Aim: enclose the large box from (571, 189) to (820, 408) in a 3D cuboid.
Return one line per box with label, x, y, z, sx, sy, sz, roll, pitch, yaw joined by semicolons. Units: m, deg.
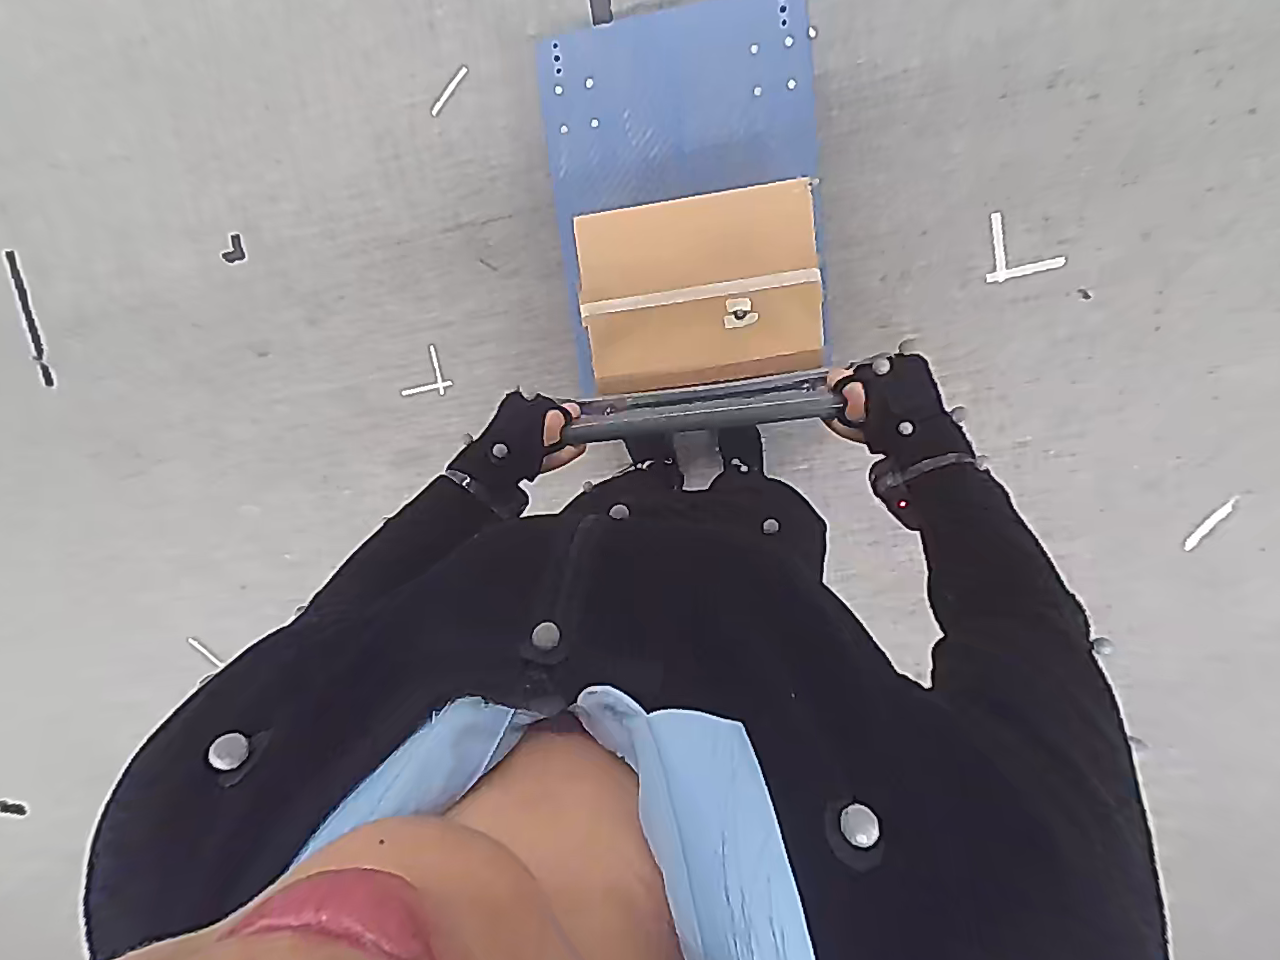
large box;0.108;-0.327;1.080;0.408;0.320;0.320;-7;99;7
